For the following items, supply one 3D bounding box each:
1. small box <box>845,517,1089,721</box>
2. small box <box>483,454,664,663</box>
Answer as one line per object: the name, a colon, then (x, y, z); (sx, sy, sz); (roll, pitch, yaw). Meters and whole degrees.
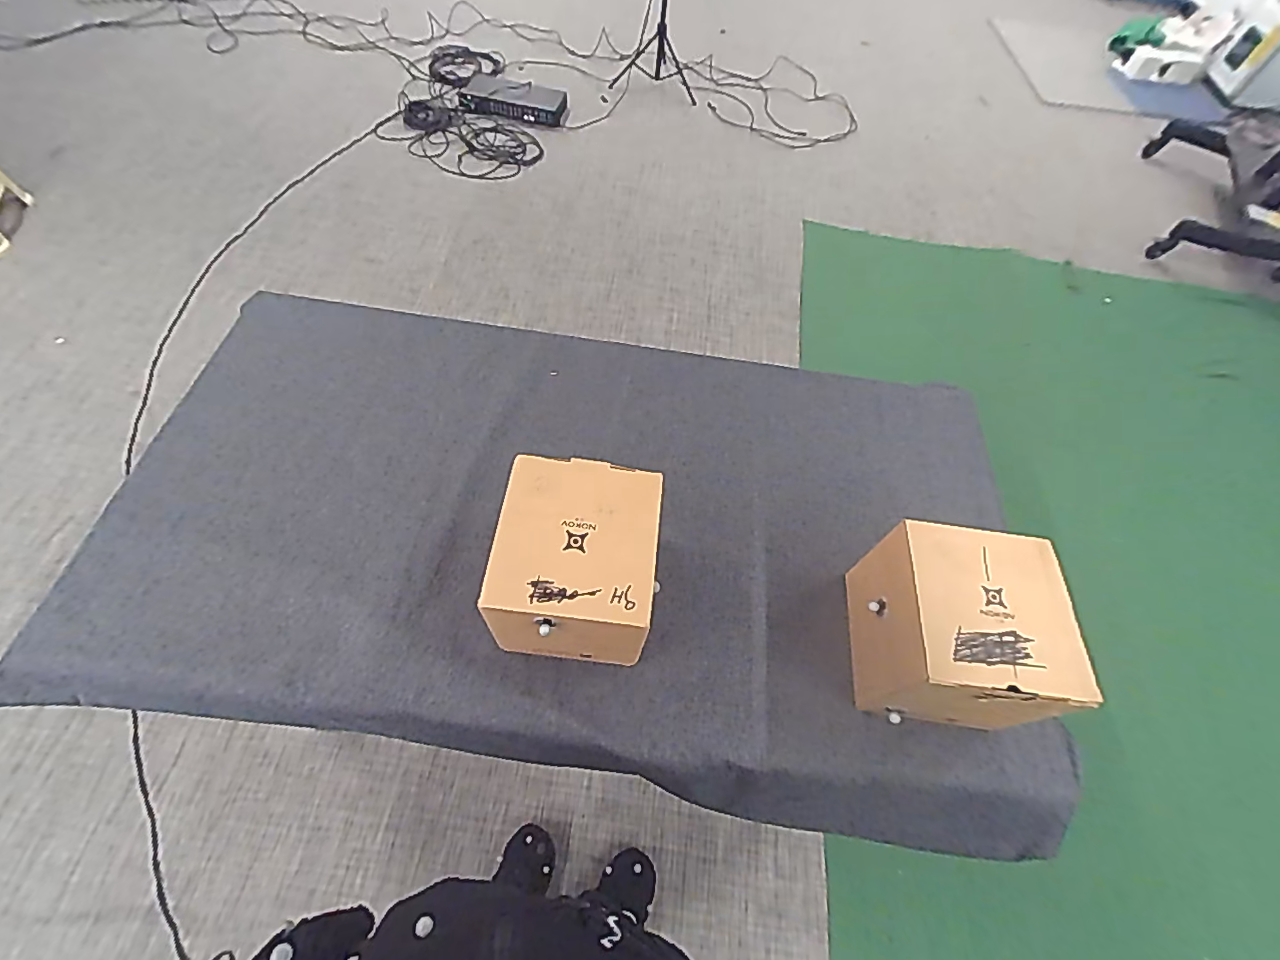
small box: (0.352, 0.167, 0.624); (0.168, 0.176, 0.179); (8, 57, 0)
small box: (-0.070, 0.096, 0.628); (0.168, 0.176, 0.179); (8, 58, -1)
